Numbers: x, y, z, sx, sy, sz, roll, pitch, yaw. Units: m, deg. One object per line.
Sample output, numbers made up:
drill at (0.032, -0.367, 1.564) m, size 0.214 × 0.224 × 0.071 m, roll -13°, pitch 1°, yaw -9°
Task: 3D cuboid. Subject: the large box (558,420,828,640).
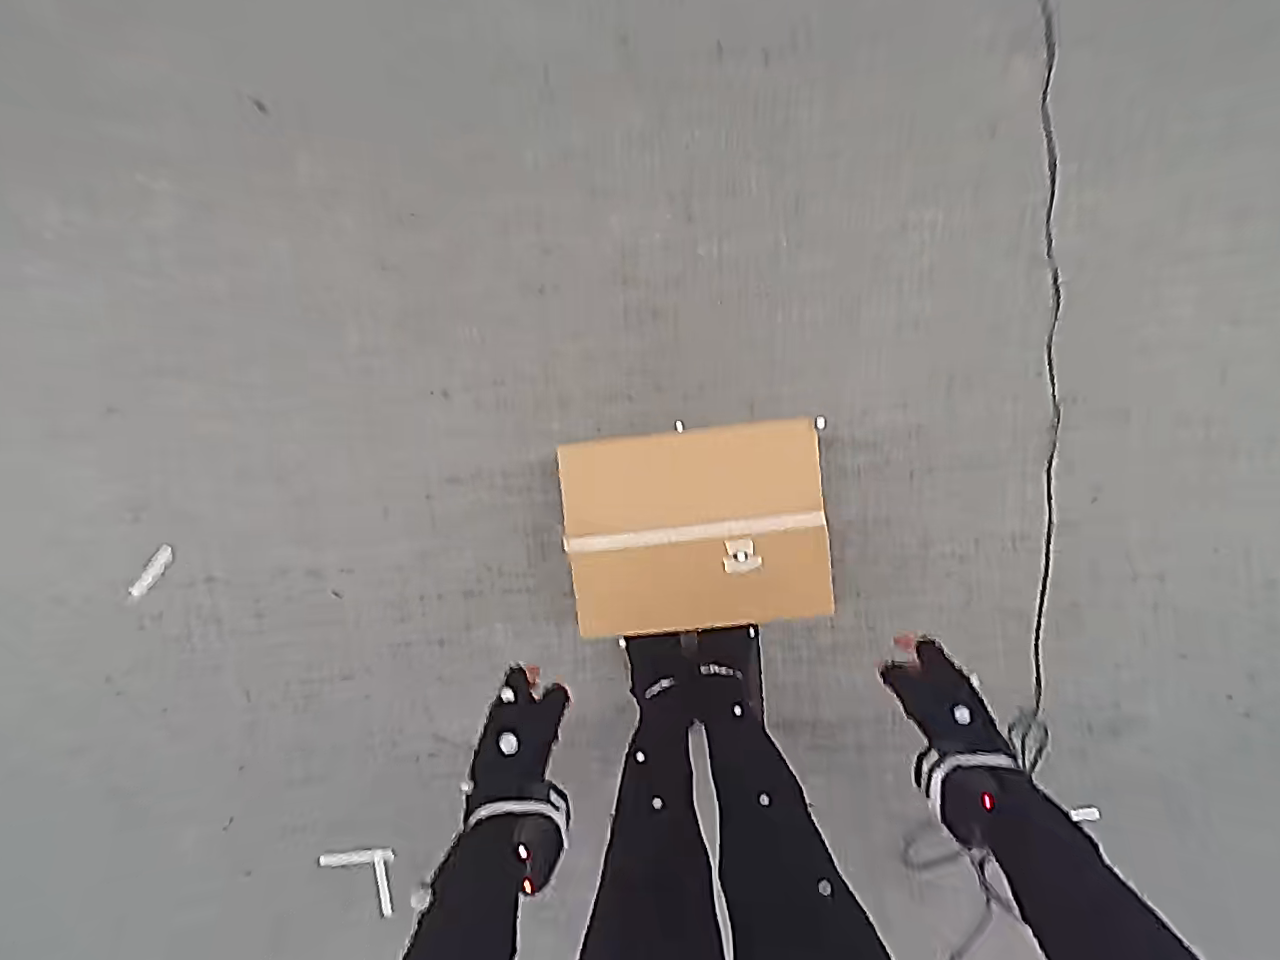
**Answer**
large box at (0.087, 0.075, 1.006) m, size 0.408 × 0.320 × 0.320 m, roll -7°, pitch 94°, yaw 2°
